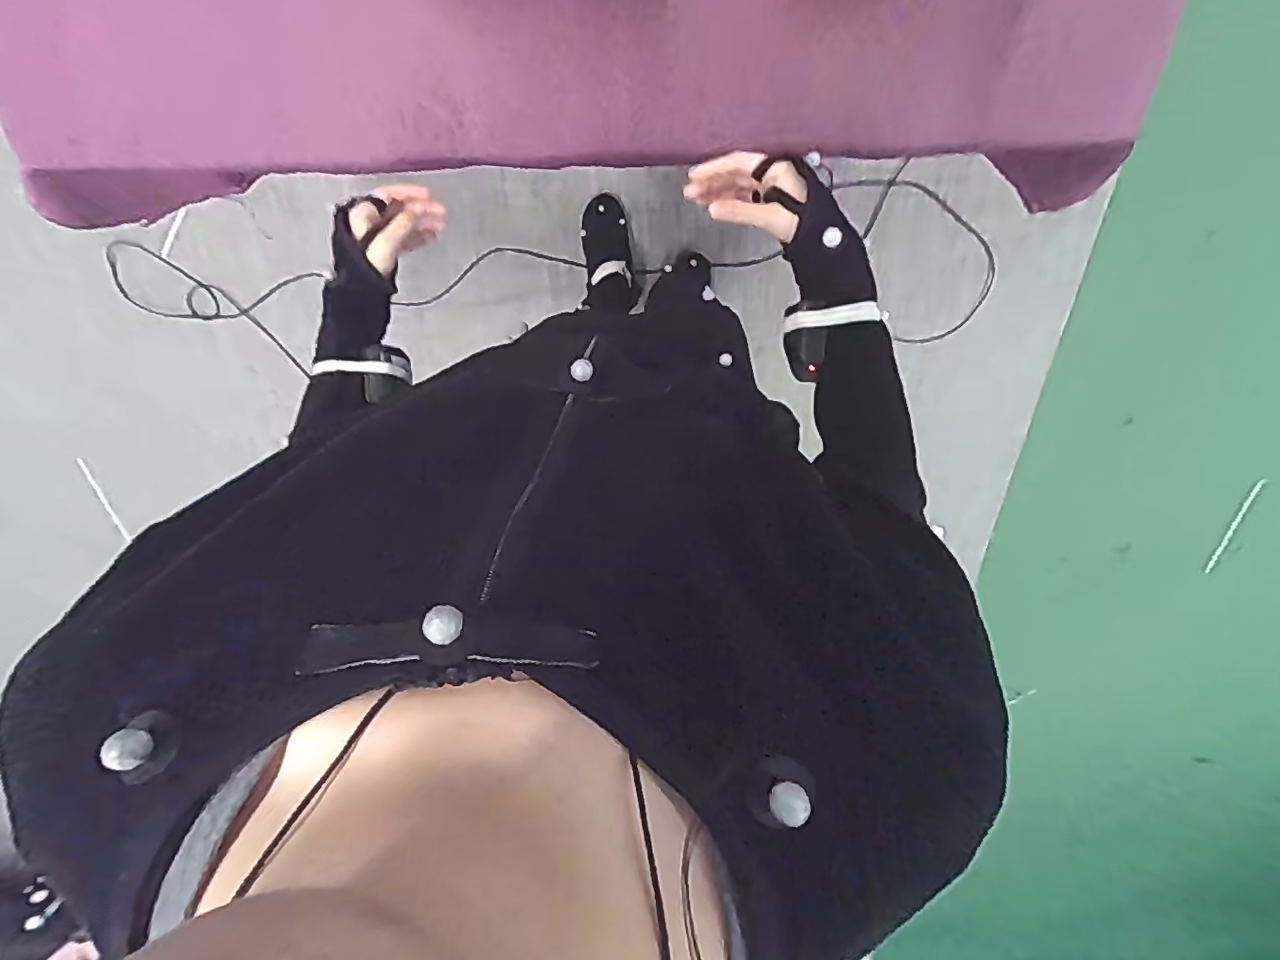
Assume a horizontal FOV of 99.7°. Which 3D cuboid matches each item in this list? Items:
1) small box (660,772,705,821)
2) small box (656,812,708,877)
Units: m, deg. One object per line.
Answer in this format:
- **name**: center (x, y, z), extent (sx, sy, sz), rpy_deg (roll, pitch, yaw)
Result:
- **small box**: center (0.178, 1.403, 2.345), extent (0.168, 0.176, 0.179), rpy_deg (6, 119, -5)
- **small box**: center (0.166, 1.481, 2.199), extent (0.179, 0.176, 0.168), rpy_deg (5, 119, -5)
